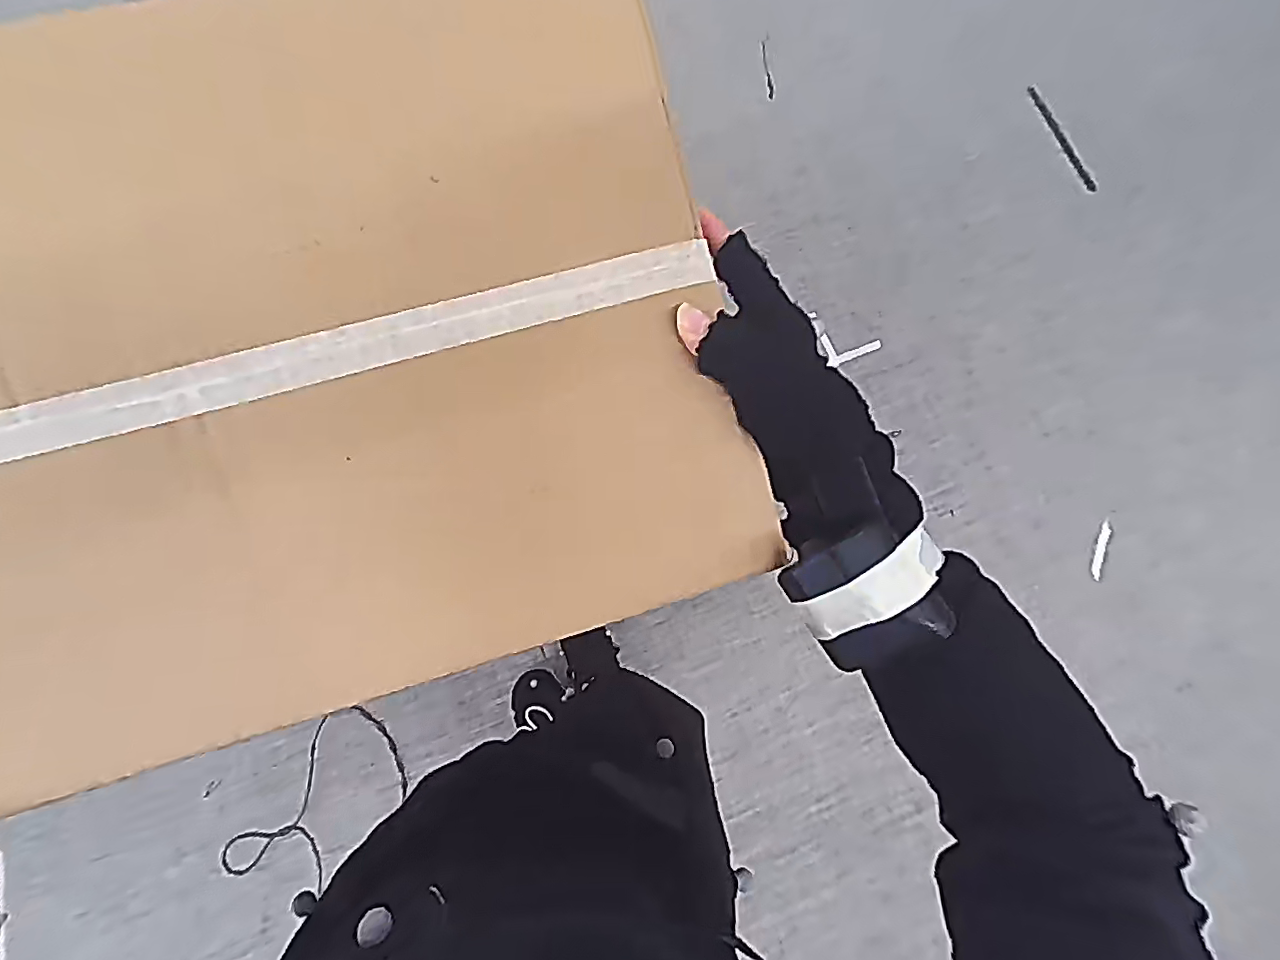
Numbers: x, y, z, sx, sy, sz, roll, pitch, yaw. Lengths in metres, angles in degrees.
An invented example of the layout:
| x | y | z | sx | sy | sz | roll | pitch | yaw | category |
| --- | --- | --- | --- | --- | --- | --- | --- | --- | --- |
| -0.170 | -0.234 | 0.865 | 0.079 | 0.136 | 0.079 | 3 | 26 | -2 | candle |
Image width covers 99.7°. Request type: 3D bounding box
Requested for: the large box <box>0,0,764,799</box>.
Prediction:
| x | y | z | sx | sy | sz | roll | pitch | yaw | category |
| --- | --- | --- | --- | --- | --- | --- | --- | --- | --- |
| -0.179 | -0.061 | 0.400 | 0.408 | 0.320 | 0.320 | -16 | 94 | -7 | large box |
